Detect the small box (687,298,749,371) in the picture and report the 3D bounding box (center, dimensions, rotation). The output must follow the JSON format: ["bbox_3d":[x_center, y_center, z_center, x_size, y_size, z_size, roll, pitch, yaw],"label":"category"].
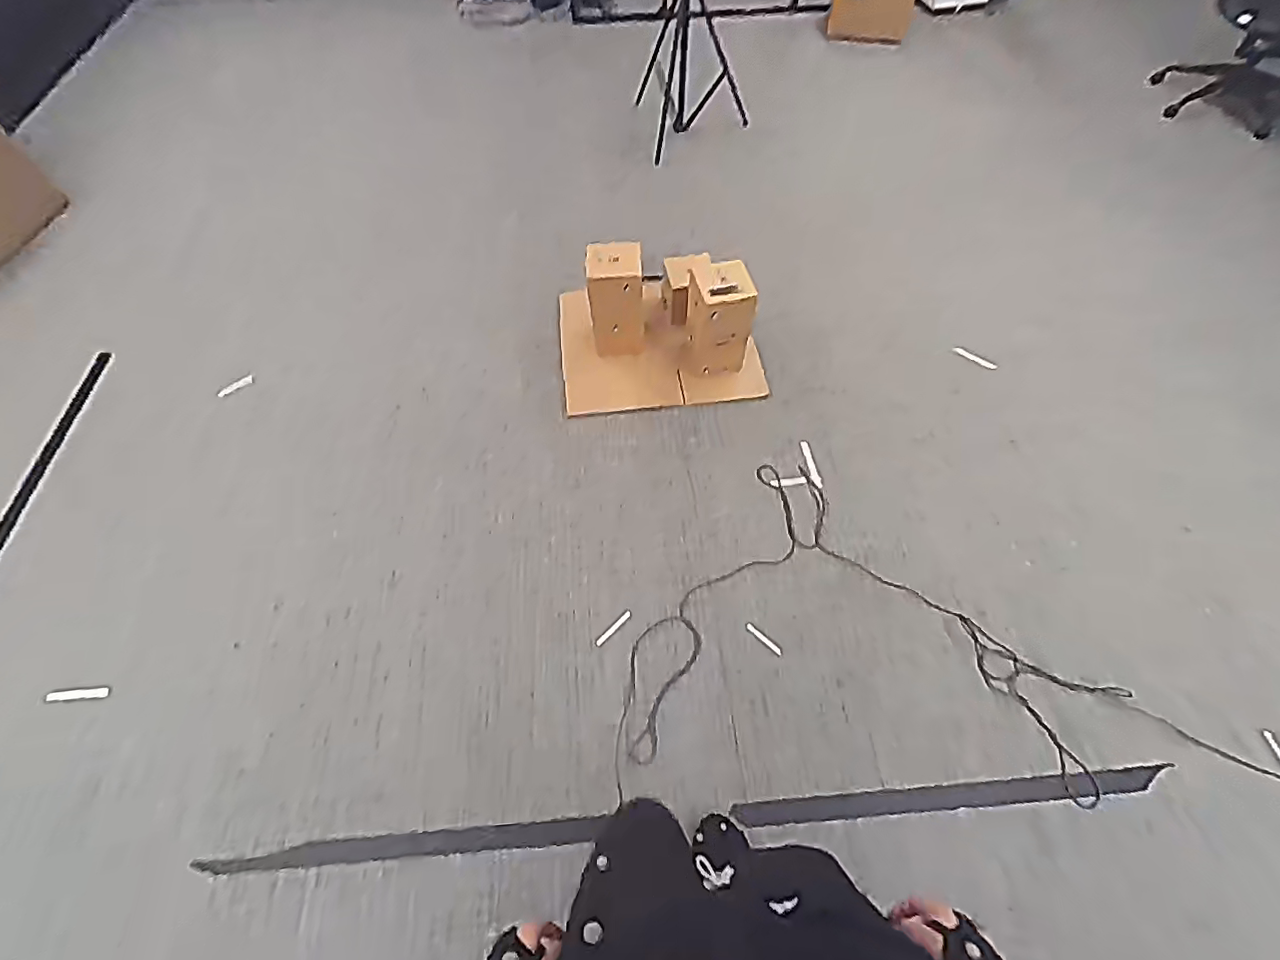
[{"bbox_3d":[0.263,-0.490,1.851,0.168,0.176,0.179,-9,59,-5],"label":"small box"}]

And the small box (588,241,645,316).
[{"bbox_3d":[-0.074,-0.653,1.760,0.179,0.176,0.168,-3,59,0],"label":"small box"}]

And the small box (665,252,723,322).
[{"bbox_3d":[0.192,-0.705,1.982,0.179,0.176,0.168,-10,59,-4],"label":"small box"}]

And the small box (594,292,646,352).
[{"bbox_3d":[-0.069,-0.567,1.901,0.179,0.176,0.168,-4,59,0],"label":"small box"}]
